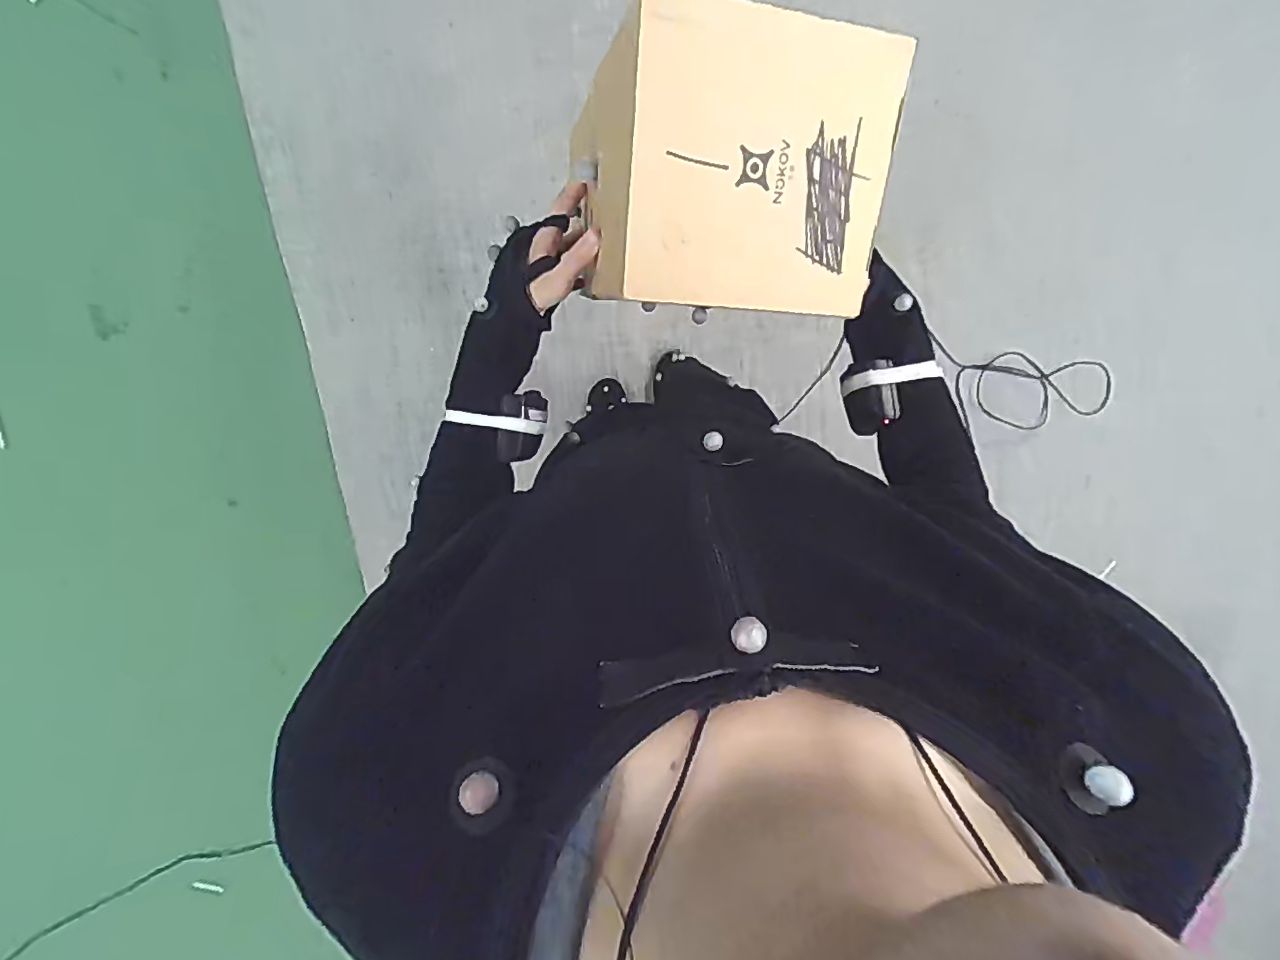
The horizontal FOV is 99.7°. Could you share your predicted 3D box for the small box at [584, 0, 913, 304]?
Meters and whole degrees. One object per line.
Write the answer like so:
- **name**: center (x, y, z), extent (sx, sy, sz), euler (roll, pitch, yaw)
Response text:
- **small box**: center (0.058, -0.230, 0.408), extent (0.179, 0.176, 0.168), euler (1, 110, -13)
